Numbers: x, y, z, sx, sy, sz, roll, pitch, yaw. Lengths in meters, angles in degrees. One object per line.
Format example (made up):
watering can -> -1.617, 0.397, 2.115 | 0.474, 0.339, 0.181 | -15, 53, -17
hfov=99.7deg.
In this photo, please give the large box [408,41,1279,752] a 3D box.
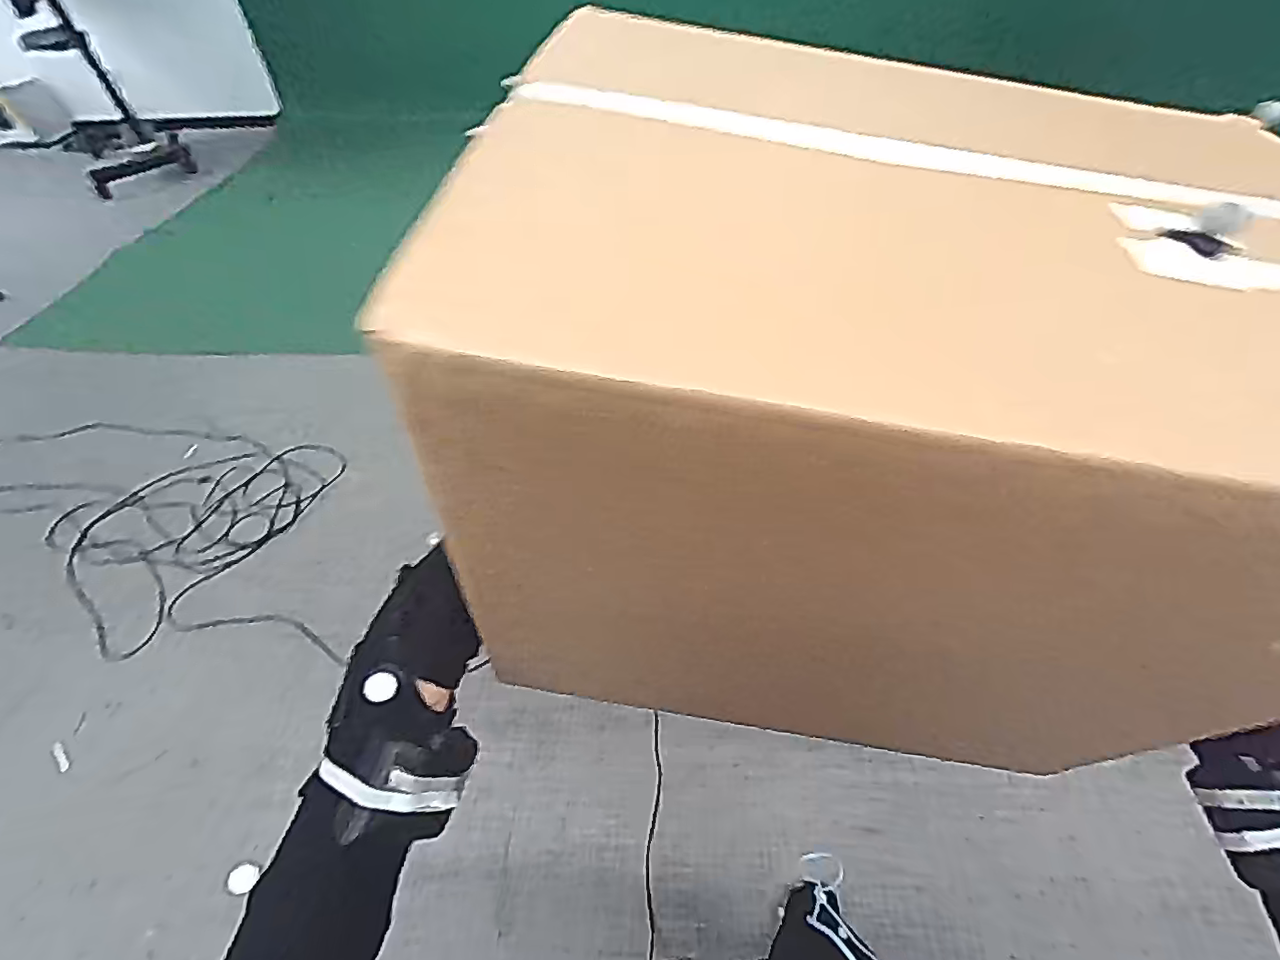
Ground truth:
large box -> 0.127, -0.038, 0.367 | 0.408, 0.320, 0.320 | 10, 53, 0
